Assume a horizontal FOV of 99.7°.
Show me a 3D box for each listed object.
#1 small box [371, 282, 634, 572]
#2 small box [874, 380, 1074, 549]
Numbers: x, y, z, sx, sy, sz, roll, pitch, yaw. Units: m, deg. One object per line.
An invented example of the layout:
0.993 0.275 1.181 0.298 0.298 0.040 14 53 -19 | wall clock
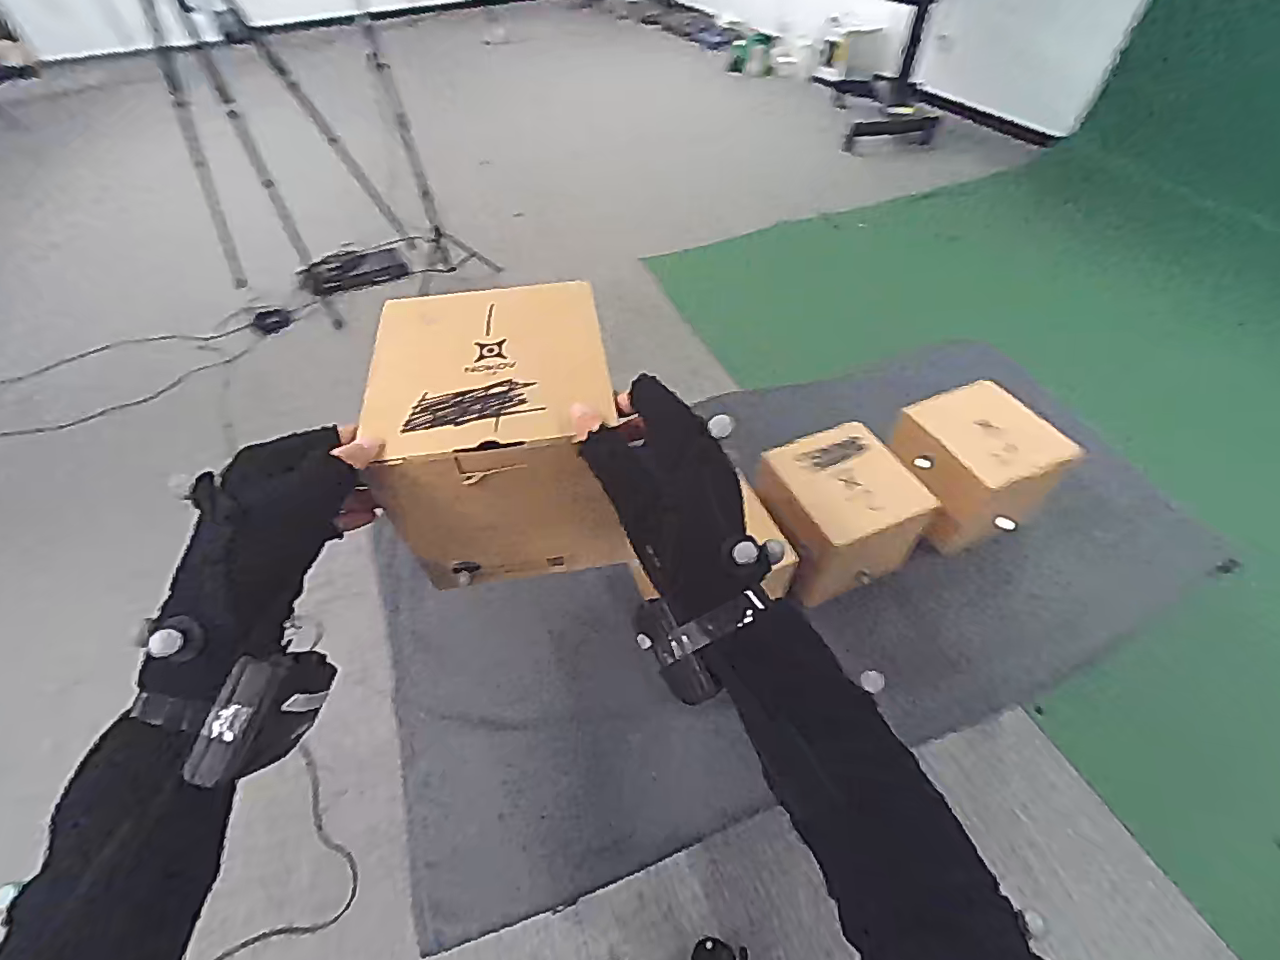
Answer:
-0.098 -0.037 0.453 0.168 0.176 0.179 -8 52 -5 | small box
0.505 -0.023 0.851 0.168 0.176 0.179 -19 52 -13 | small box
